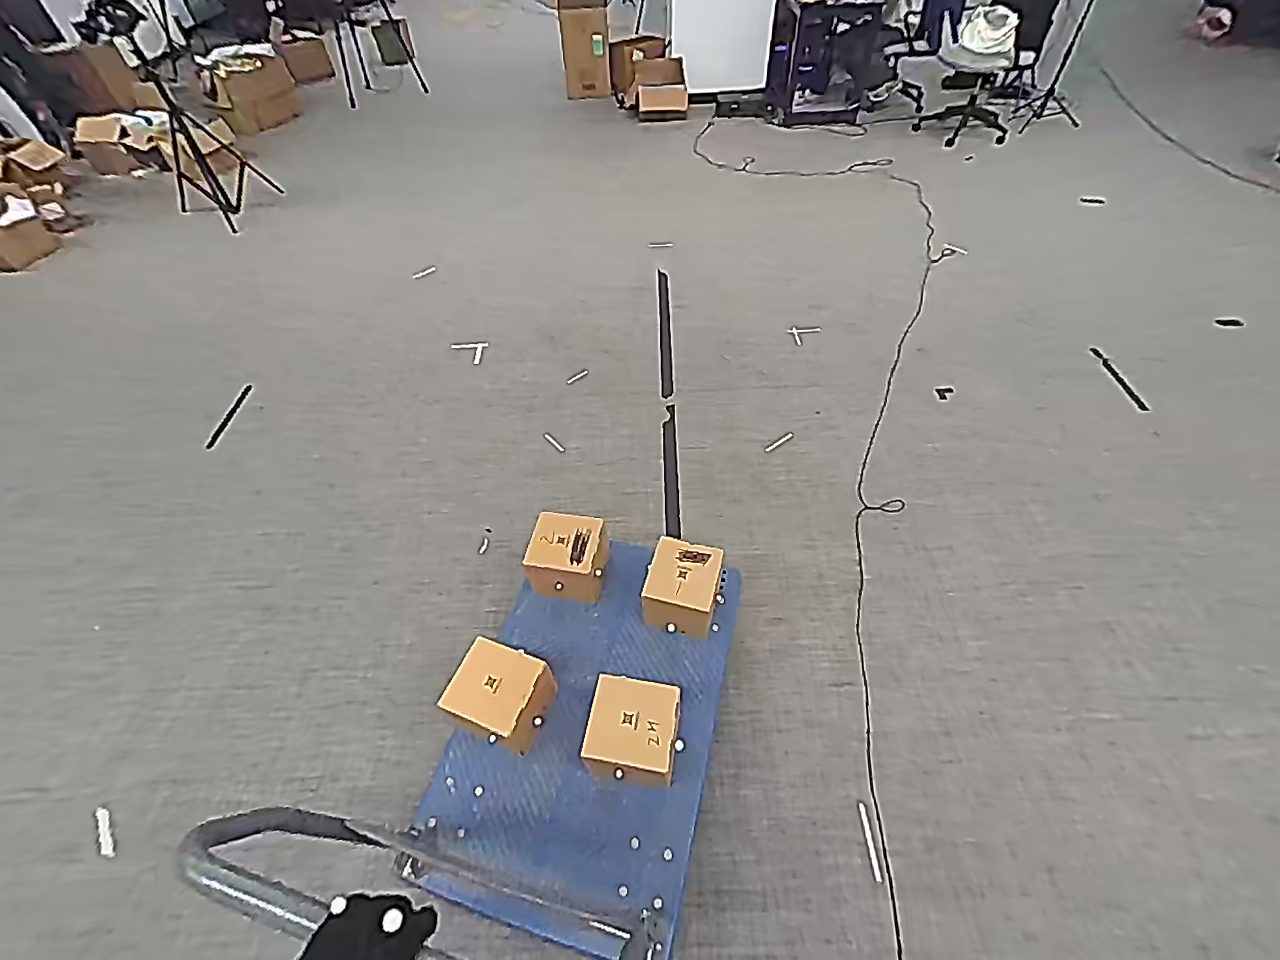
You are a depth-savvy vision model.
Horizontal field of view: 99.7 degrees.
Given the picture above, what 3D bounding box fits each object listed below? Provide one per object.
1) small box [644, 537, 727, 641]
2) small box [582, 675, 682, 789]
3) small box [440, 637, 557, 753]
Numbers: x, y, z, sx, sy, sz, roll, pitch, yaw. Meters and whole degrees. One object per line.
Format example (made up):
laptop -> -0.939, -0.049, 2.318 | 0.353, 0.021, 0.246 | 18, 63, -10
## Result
small box -> 0.114, 0.274, 1.356 | 0.168, 0.176, 0.179 | 12, 53, 13
small box -> -0.009, 0.536, 1.145 | 0.179, 0.176, 0.168 | 7, 51, 10
small box -> -0.306, 0.484, 1.208 | 0.179, 0.176, 0.168 | 16, 53, 14
